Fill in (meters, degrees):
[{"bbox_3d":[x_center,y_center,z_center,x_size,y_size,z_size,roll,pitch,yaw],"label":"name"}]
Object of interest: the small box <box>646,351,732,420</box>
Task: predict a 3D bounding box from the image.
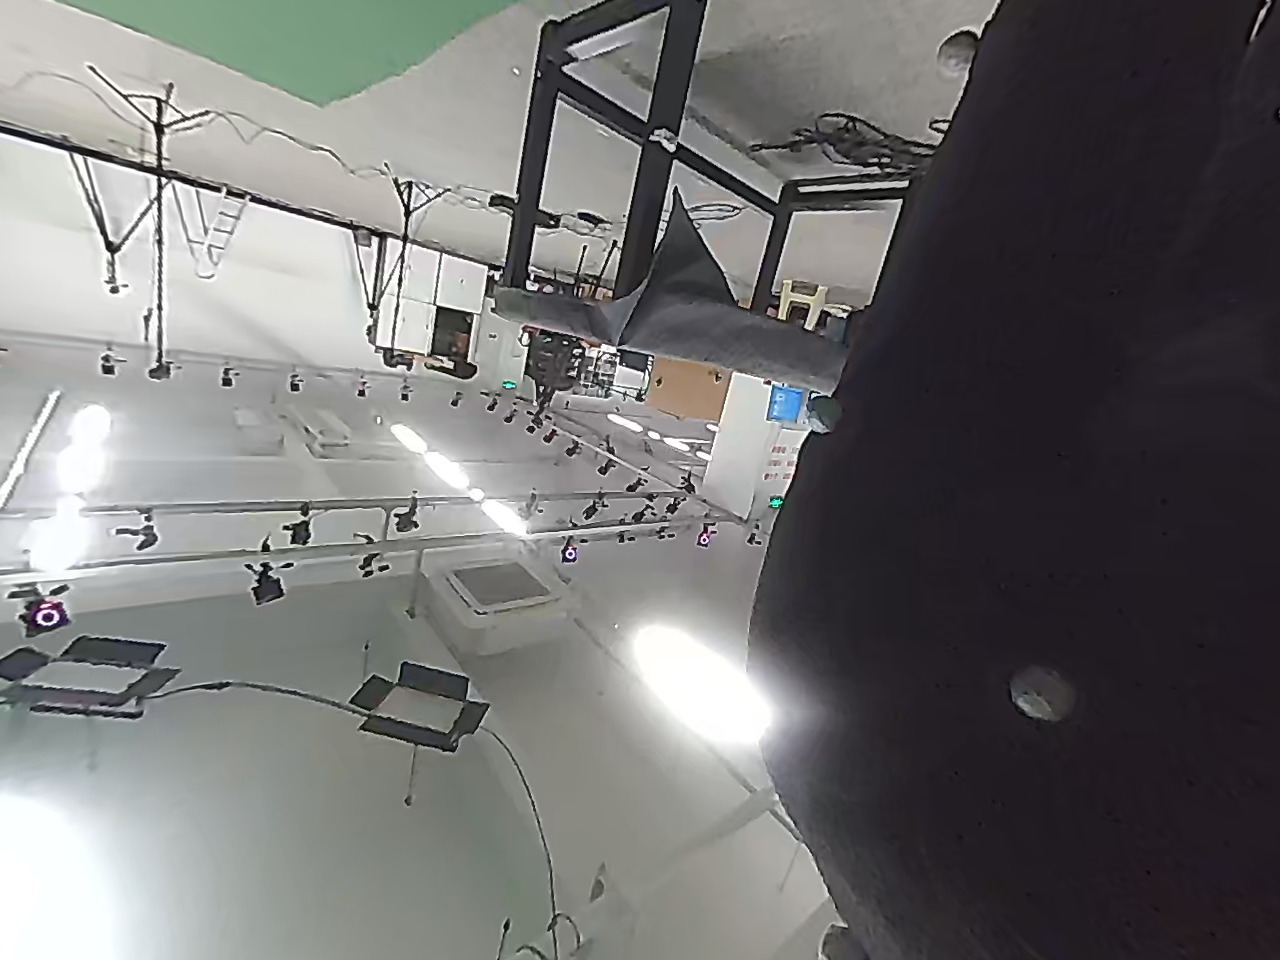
[{"bbox_3d":[0.148,-0.284,1.605,0.168,0.176,0.179,-3,-159,-43],"label":"small box"}]
